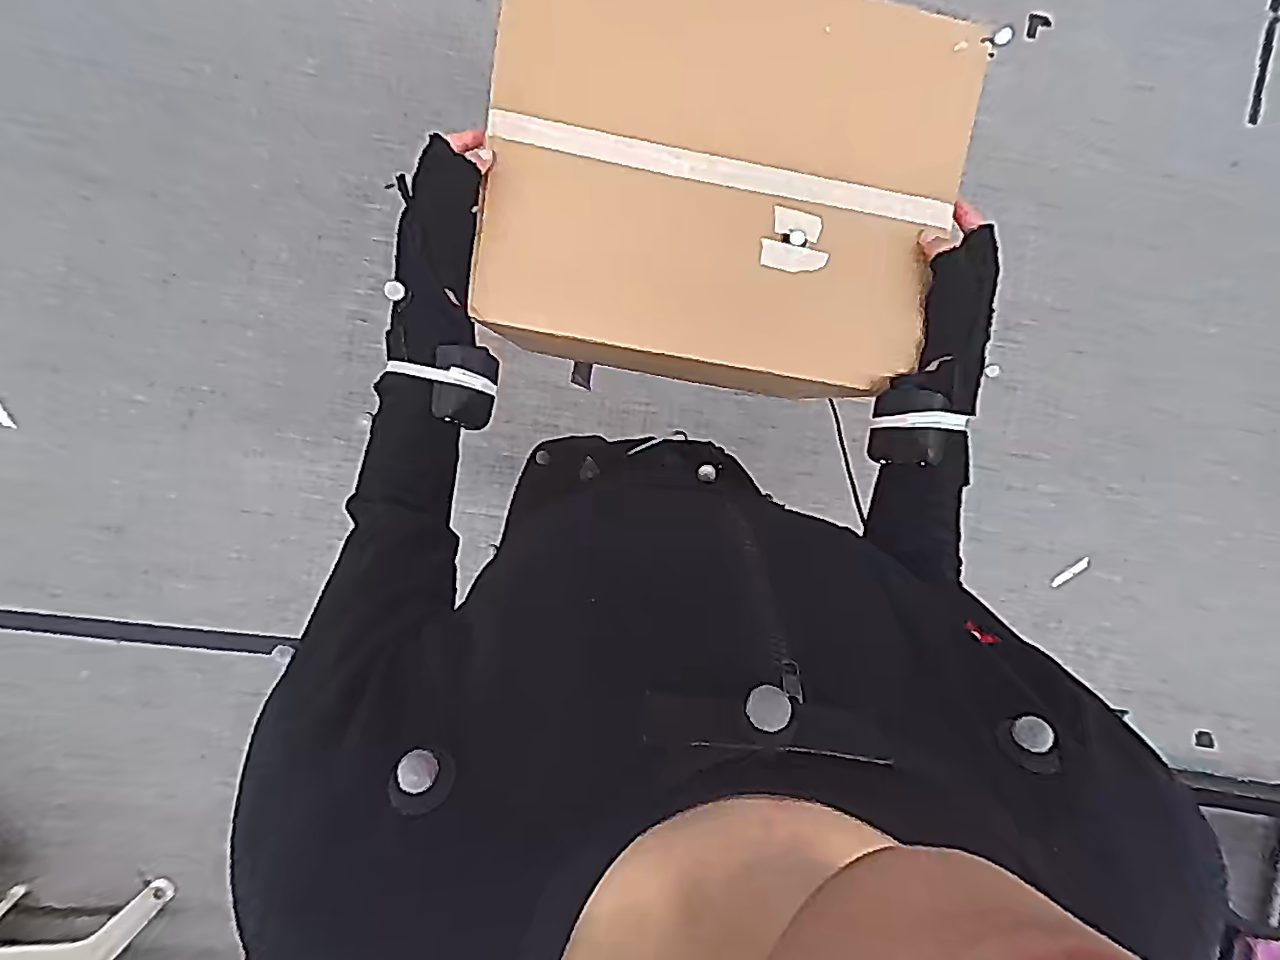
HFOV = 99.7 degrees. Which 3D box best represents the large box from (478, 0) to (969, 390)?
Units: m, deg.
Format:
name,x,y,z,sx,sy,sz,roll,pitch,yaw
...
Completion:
name,x,y,z,sx,sy,sz,roll,pitch,yaw
large box,0.060,-0.290,0.623,0.408,0.320,0.320,9,99,-6
